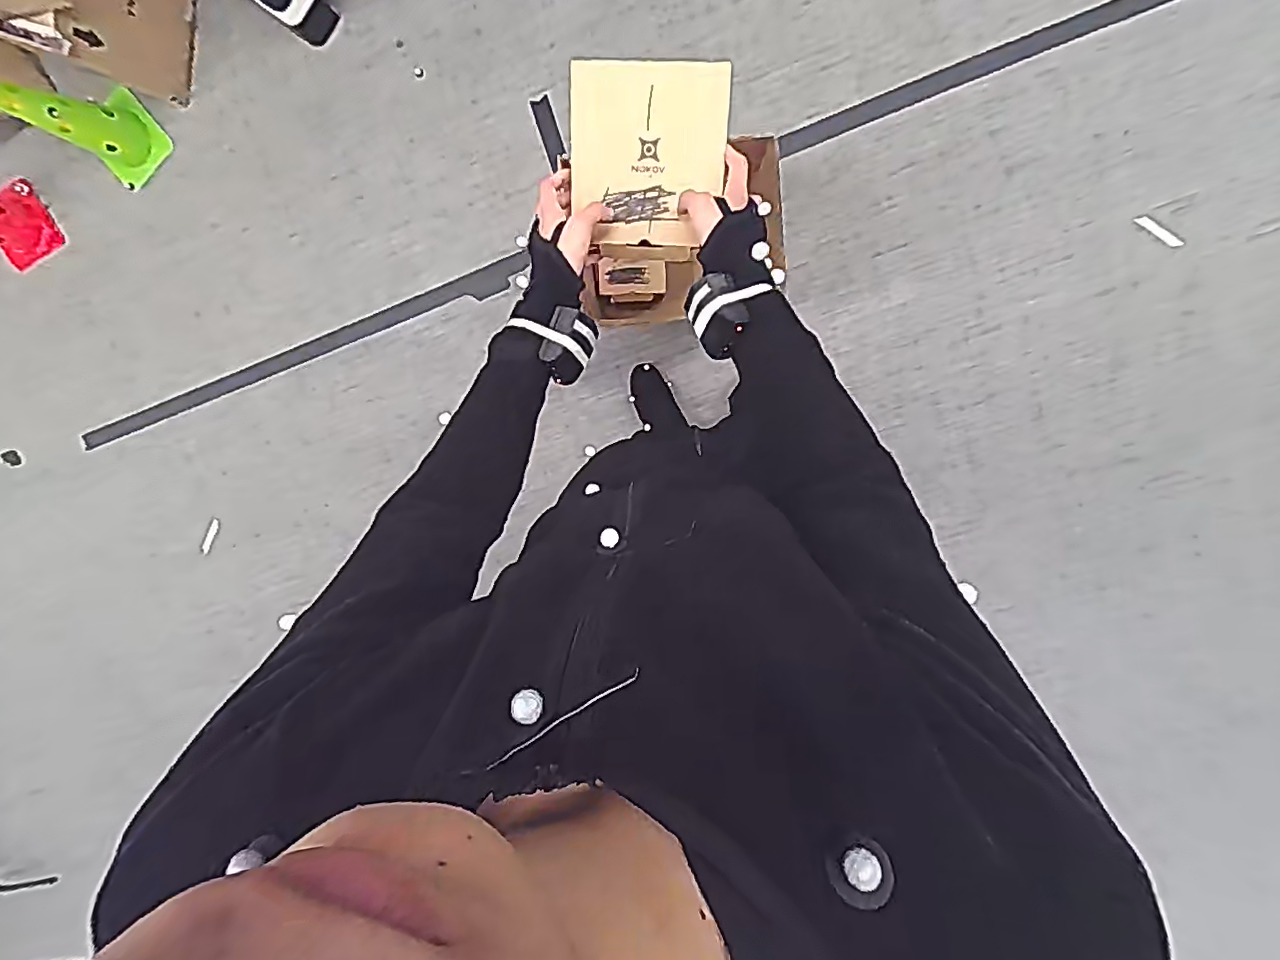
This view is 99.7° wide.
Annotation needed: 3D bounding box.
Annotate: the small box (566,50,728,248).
[{"bbox_3d":[0.009,-0.375,0.644,0.168,0.176,0.179,3,111,3],"label":"small box"}]
